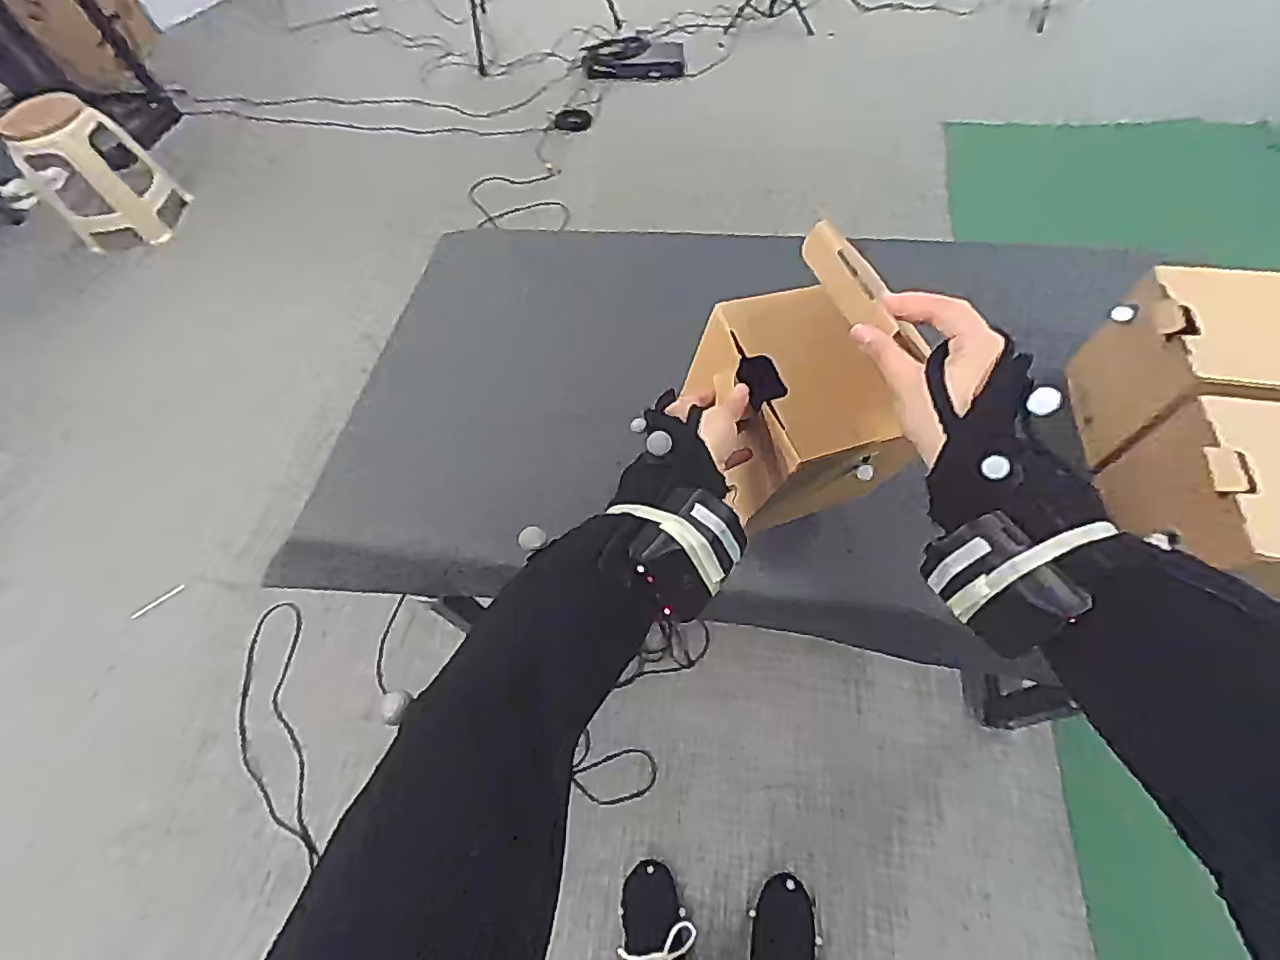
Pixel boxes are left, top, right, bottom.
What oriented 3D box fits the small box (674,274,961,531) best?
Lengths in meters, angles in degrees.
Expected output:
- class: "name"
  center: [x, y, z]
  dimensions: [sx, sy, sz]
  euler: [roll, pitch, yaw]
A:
- class: "small box"
  center: [0.153, -0.069, 0.530]
  dimensions: [0.179, 0.176, 0.168]
  euler: [-16, 68, -16]
